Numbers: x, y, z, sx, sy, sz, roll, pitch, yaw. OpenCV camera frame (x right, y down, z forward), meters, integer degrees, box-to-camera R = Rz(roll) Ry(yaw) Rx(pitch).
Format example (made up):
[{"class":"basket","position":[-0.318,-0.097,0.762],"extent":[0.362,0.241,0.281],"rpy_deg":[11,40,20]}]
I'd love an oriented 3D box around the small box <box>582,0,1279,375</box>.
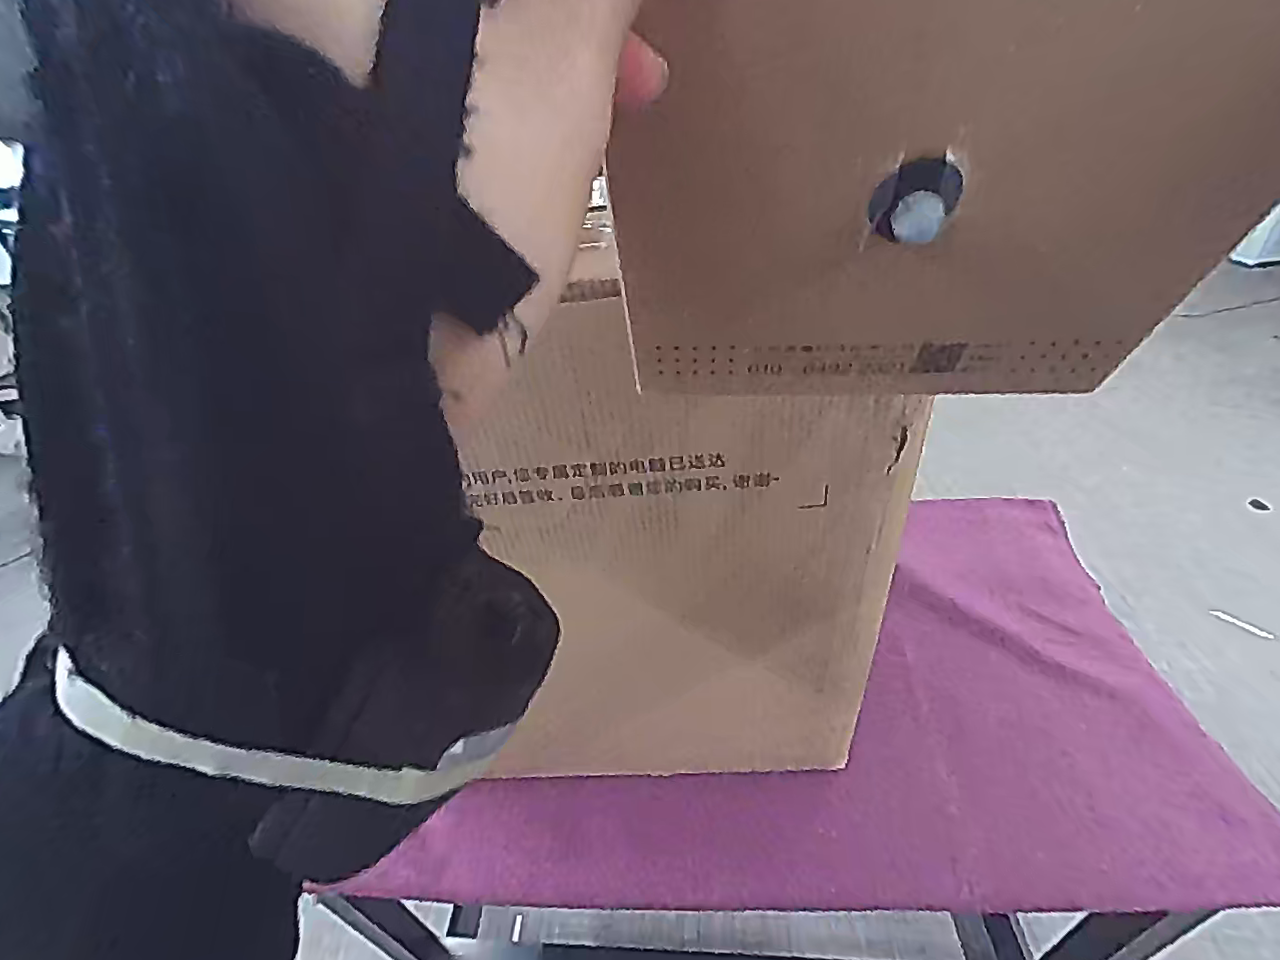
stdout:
[{"class":"small box","position":[0.078,-0.149,0.172],"extent":[0.168,0.176,0.179],"rpy_deg":[1,59,6]}]
